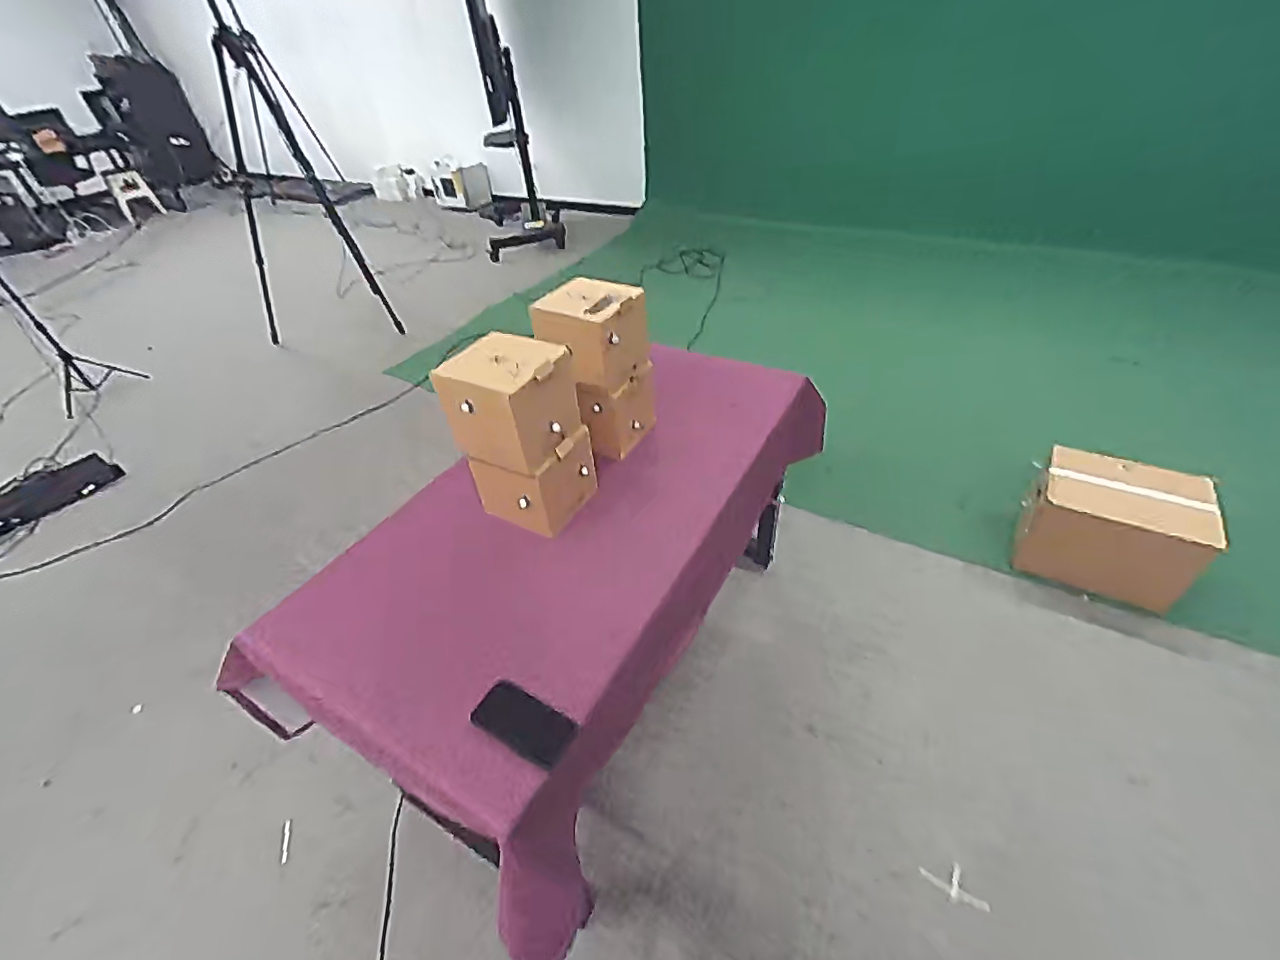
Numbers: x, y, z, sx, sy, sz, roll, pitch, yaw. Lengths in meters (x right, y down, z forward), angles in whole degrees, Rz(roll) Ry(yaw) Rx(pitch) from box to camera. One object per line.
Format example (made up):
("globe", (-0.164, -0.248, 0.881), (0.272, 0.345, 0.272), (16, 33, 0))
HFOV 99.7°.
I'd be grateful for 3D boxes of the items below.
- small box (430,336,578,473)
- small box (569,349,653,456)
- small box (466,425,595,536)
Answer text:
("small box", (-0.233, -0.134, 0.964), (0.179, 0.176, 0.168), (17, 46, 24))
("small box", (-0.084, -0.177, 1.245), (0.179, 0.176, 0.168), (18, 47, 24))
("small box", (-0.206, -0.014, 1.076), (0.179, 0.176, 0.168), (17, 45, 25))
